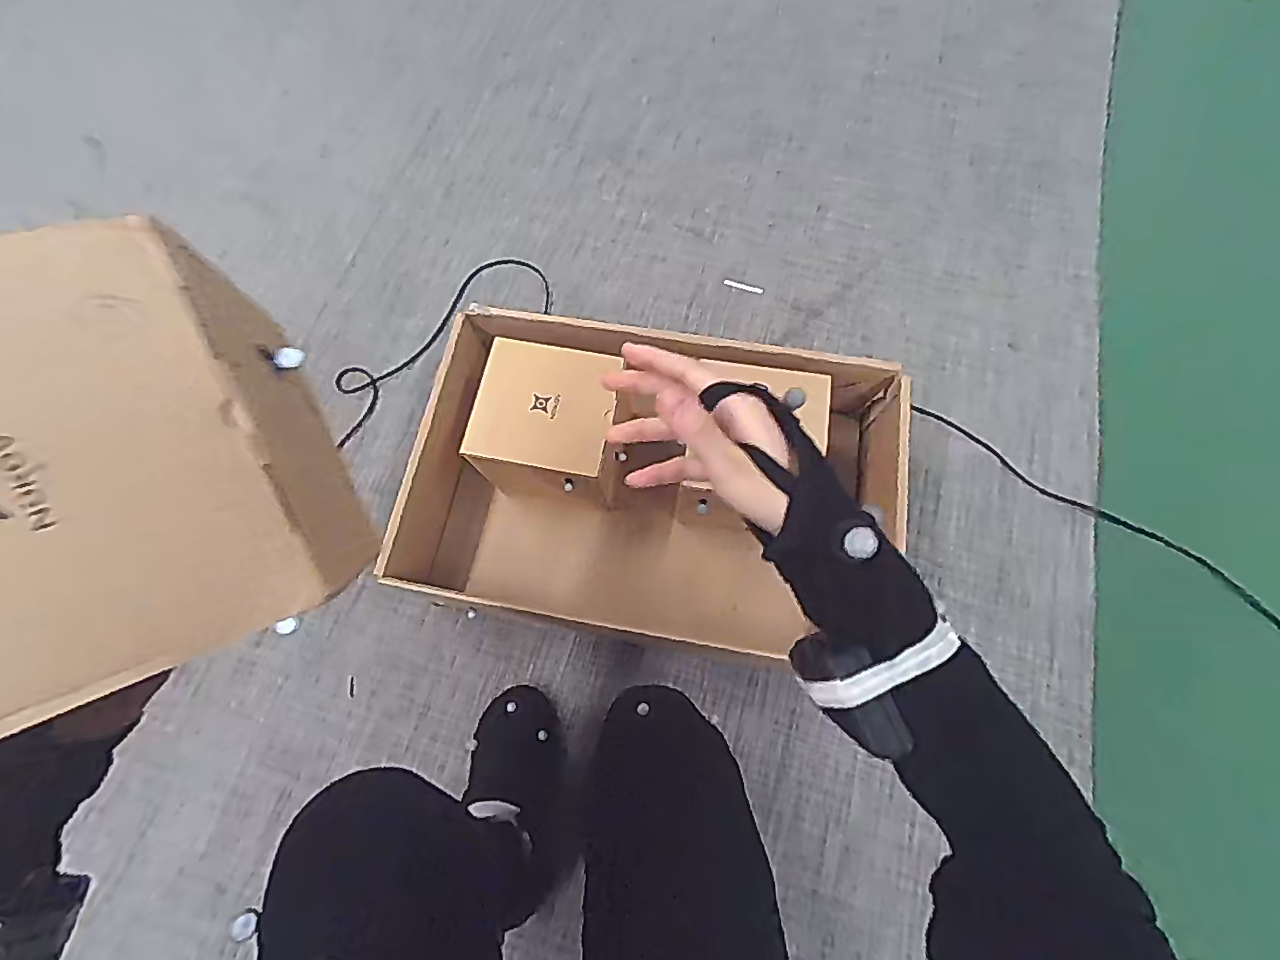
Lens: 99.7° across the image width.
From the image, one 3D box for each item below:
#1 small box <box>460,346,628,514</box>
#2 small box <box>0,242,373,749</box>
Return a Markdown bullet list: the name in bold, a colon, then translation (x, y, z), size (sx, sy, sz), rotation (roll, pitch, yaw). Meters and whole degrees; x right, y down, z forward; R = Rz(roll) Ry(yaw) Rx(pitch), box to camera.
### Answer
- **small box**: translation (-0.118, -0.060, 0.749), size (0.179, 0.176, 0.168), rotation (10, 73, 4)
- **small box**: translation (-0.253, 0.010, 0.271), size (0.179, 0.176, 0.168), rotation (-21, 96, -17)
